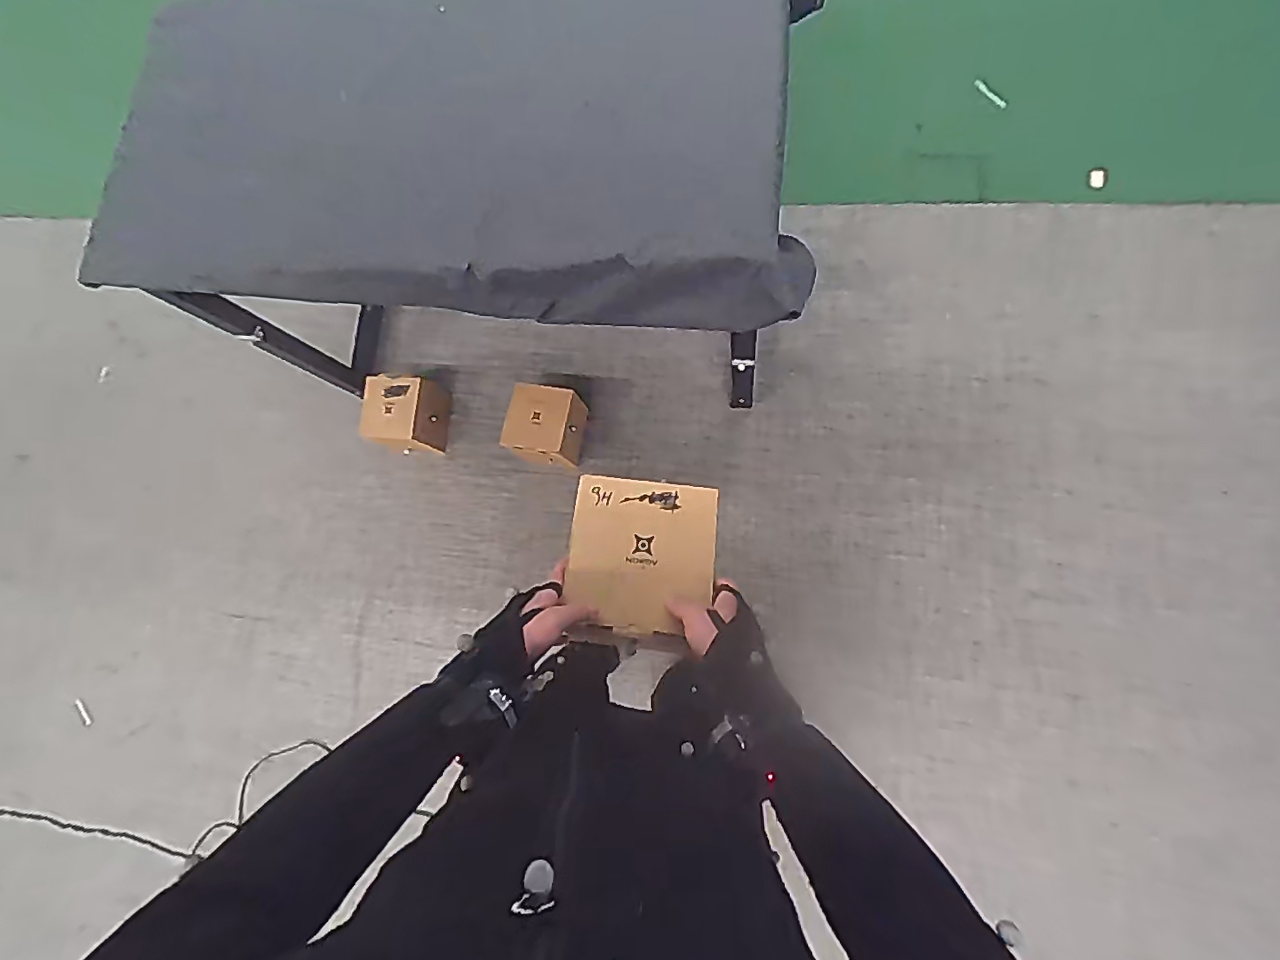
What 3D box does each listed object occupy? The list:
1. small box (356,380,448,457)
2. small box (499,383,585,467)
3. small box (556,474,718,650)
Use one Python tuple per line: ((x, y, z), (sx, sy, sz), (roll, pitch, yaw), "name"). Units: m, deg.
((-0.664, -0.170, 1.529), (0.168, 0.176, 0.179), (2, 81, 11), "small box")
((-0.257, -0.142, 1.456), (0.168, 0.176, 0.179), (8, 80, 10), "small box")
((0.000, 0.110, 0.667), (0.168, 0.176, 0.179), (6, 68, 1), "small box")
